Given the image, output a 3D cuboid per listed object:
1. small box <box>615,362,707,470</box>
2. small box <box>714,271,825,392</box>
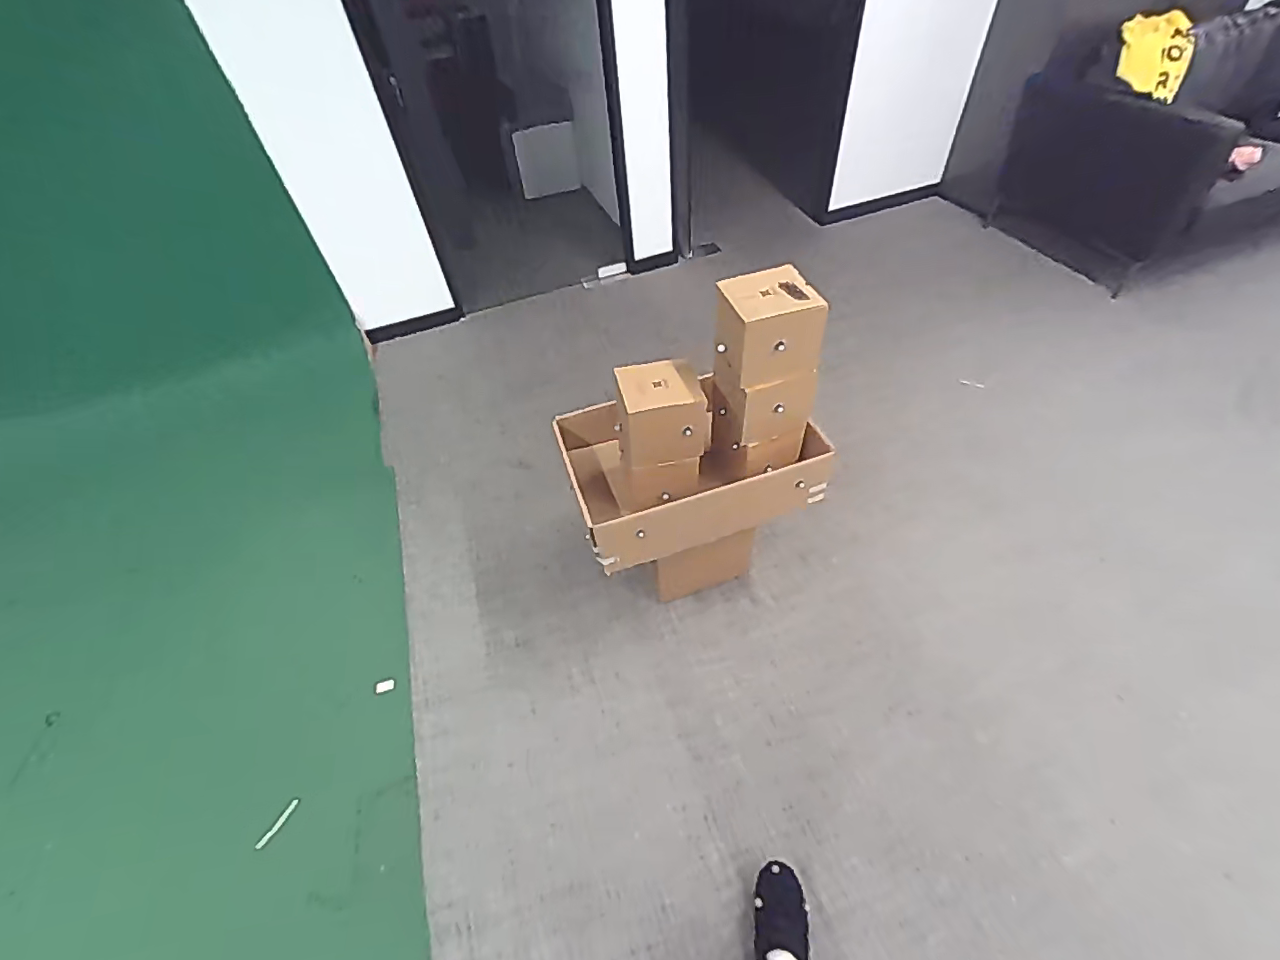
[{"bbox_3d":[0.043,-0.145,1.245,0.179,0.176,0.168,-10,47,-7],"label":"small box"},{"bbox_3d":[0.266,-0.315,1.153,0.179,0.176,0.168,-15,49,-6],"label":"small box"}]
